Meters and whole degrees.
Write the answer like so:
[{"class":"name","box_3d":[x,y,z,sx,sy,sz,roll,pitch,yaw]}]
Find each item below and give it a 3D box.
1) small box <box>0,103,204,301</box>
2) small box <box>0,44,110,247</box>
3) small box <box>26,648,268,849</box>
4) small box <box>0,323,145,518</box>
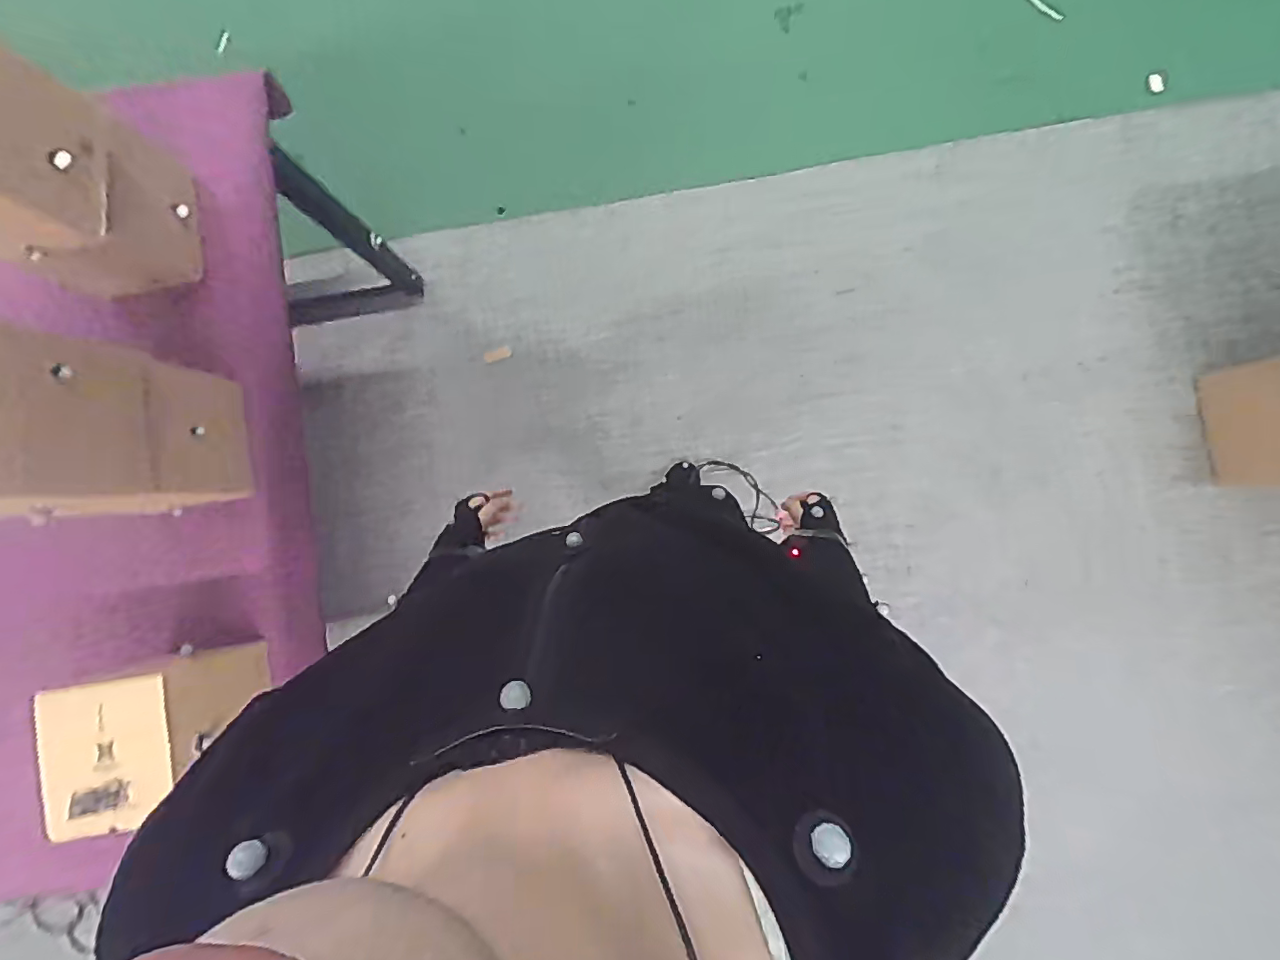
[{"class":"small box","box_3d":[-0.762,-0.375,0.757,0.168,0.176,0.179,-9,88,4]},{"class":"small box","box_3d":[-0.750,-0.372,0.591,0.179,0.176,0.168,-1,88,2]},{"class":"small box","box_3d":[-0.625,0.336,0.707,0.168,0.176,0.179,-10,85,3]},{"class":"small box","box_3d":[-0.679,-0.053,0.569,0.168,0.176,0.179,-8,87,4]}]
